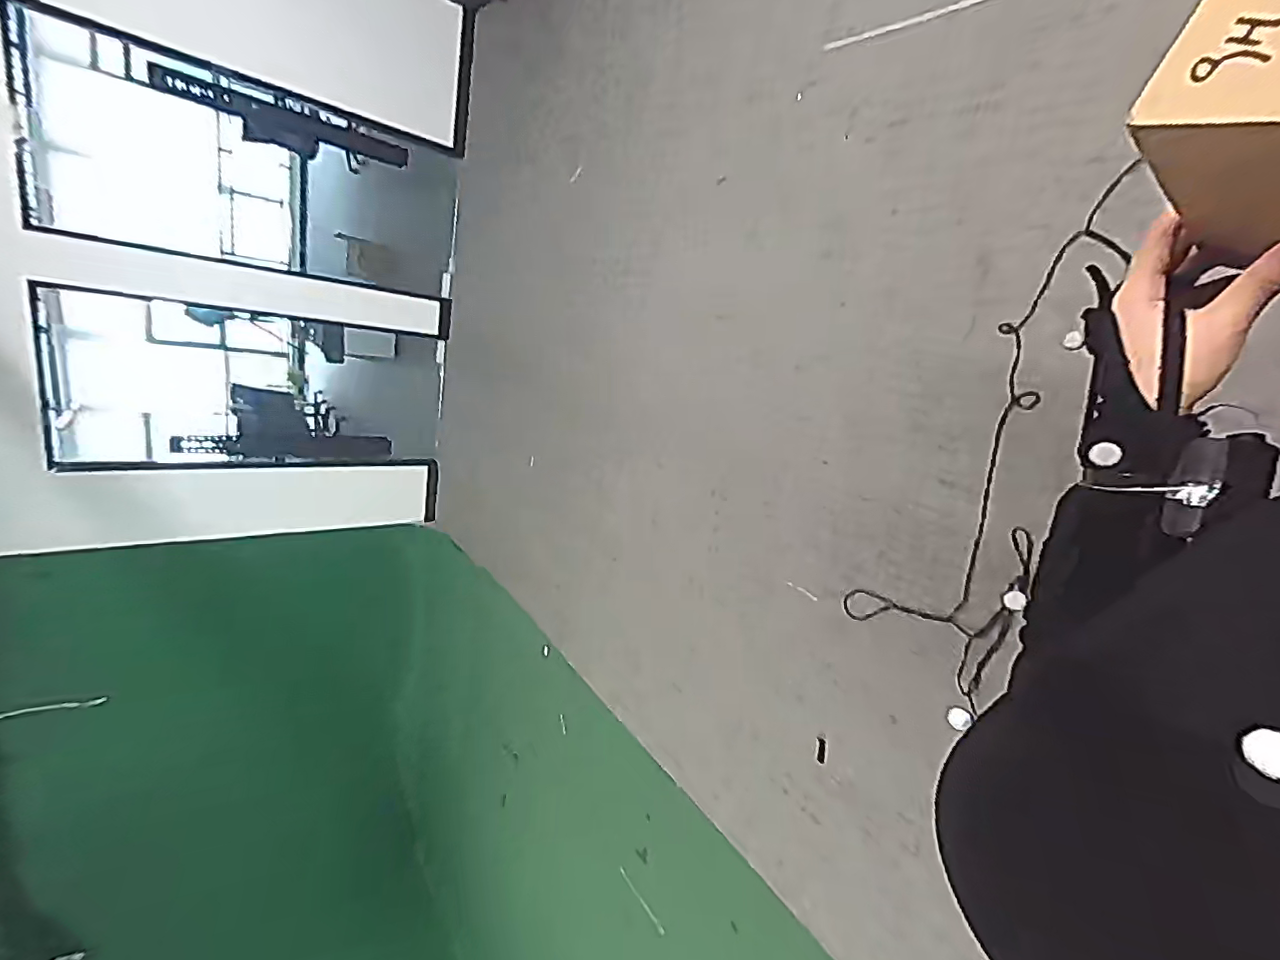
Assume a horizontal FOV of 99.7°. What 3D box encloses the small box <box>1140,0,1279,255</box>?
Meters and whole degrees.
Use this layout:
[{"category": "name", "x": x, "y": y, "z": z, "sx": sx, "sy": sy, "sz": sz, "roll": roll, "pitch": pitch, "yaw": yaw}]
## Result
[{"category": "small box", "x": 0.361, "y": -0.183, "z": 0.201, "sx": 0.179, "sy": 0.176, "sz": 0.168, "roll": 51, "pitch": 121, "yaw": 48}]
